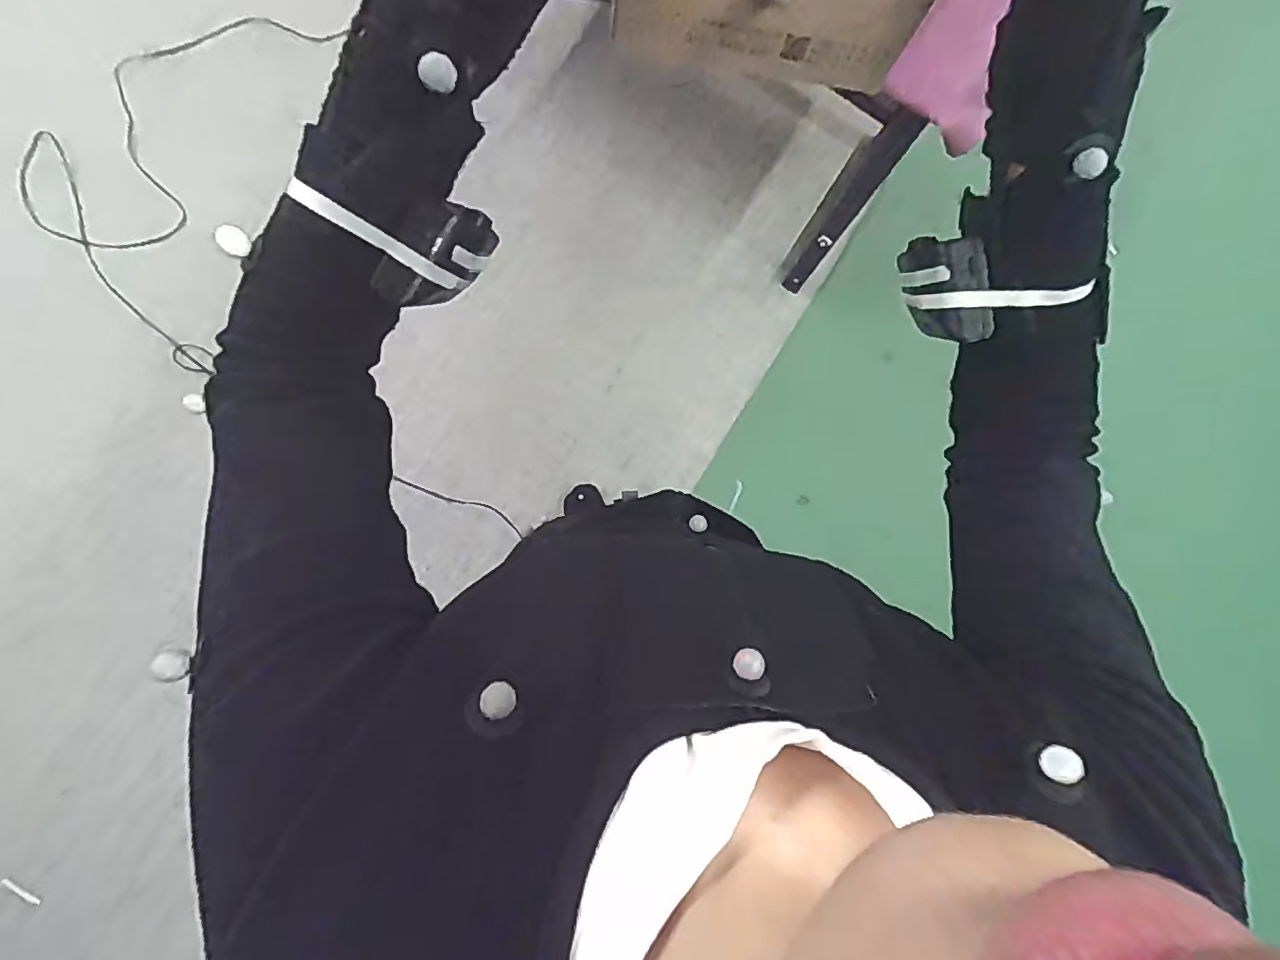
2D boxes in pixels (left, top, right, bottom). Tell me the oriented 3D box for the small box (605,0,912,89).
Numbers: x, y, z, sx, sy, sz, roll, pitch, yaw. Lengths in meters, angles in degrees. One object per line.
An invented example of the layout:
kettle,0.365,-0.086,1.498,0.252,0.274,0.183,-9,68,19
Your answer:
small box,0.073,-0.345,0.262,0.168,0.176,0.179,4,80,-7
